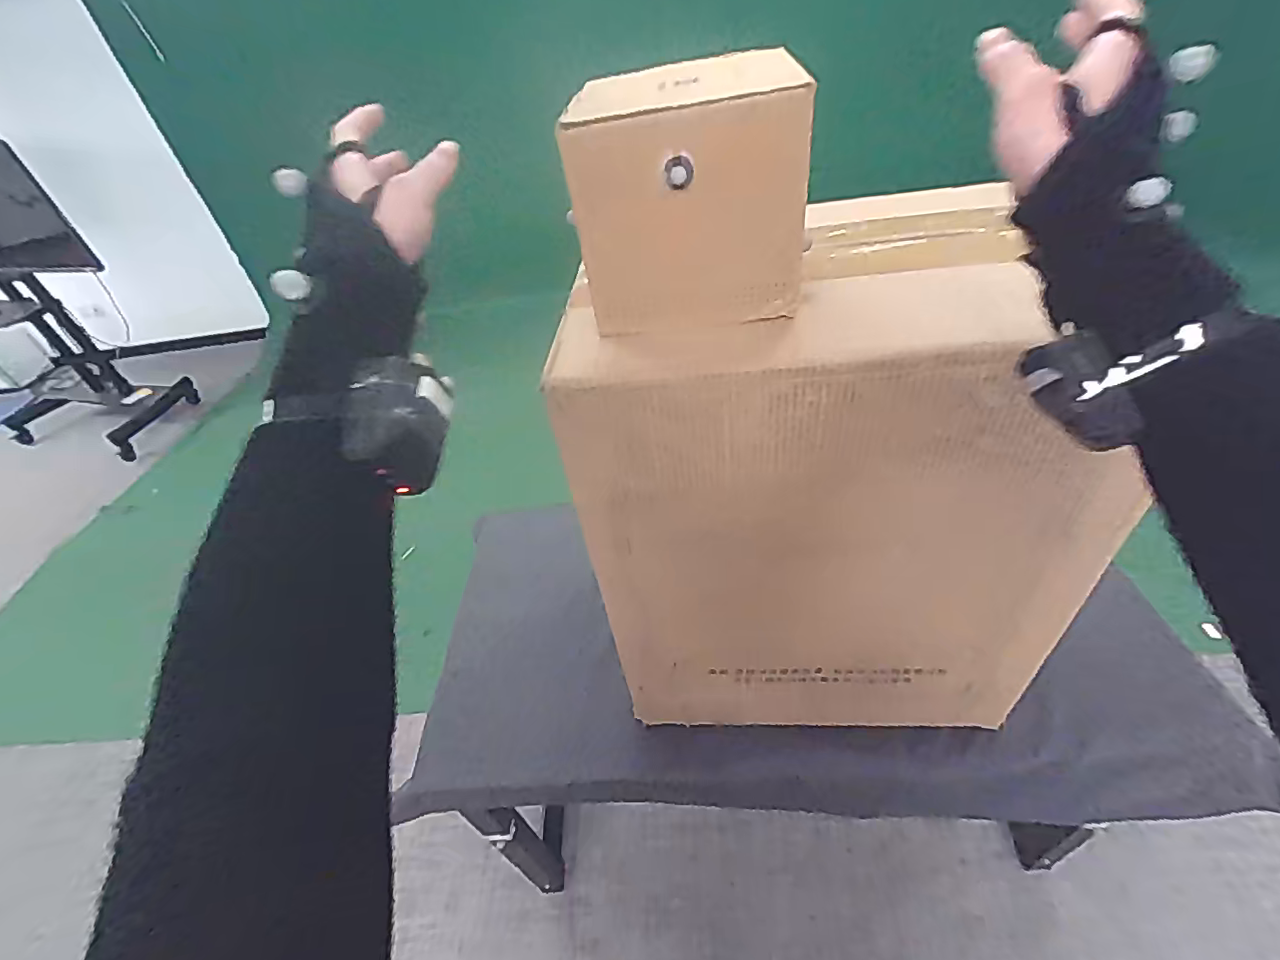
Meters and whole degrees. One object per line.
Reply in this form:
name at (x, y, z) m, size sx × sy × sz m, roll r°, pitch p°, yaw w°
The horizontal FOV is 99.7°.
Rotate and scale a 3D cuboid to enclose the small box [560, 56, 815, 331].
small box at (0.044, -0.244, 0.473) m, size 0.179 × 0.176 × 0.168 m, roll -3°, pitch 45°, yaw 7°
